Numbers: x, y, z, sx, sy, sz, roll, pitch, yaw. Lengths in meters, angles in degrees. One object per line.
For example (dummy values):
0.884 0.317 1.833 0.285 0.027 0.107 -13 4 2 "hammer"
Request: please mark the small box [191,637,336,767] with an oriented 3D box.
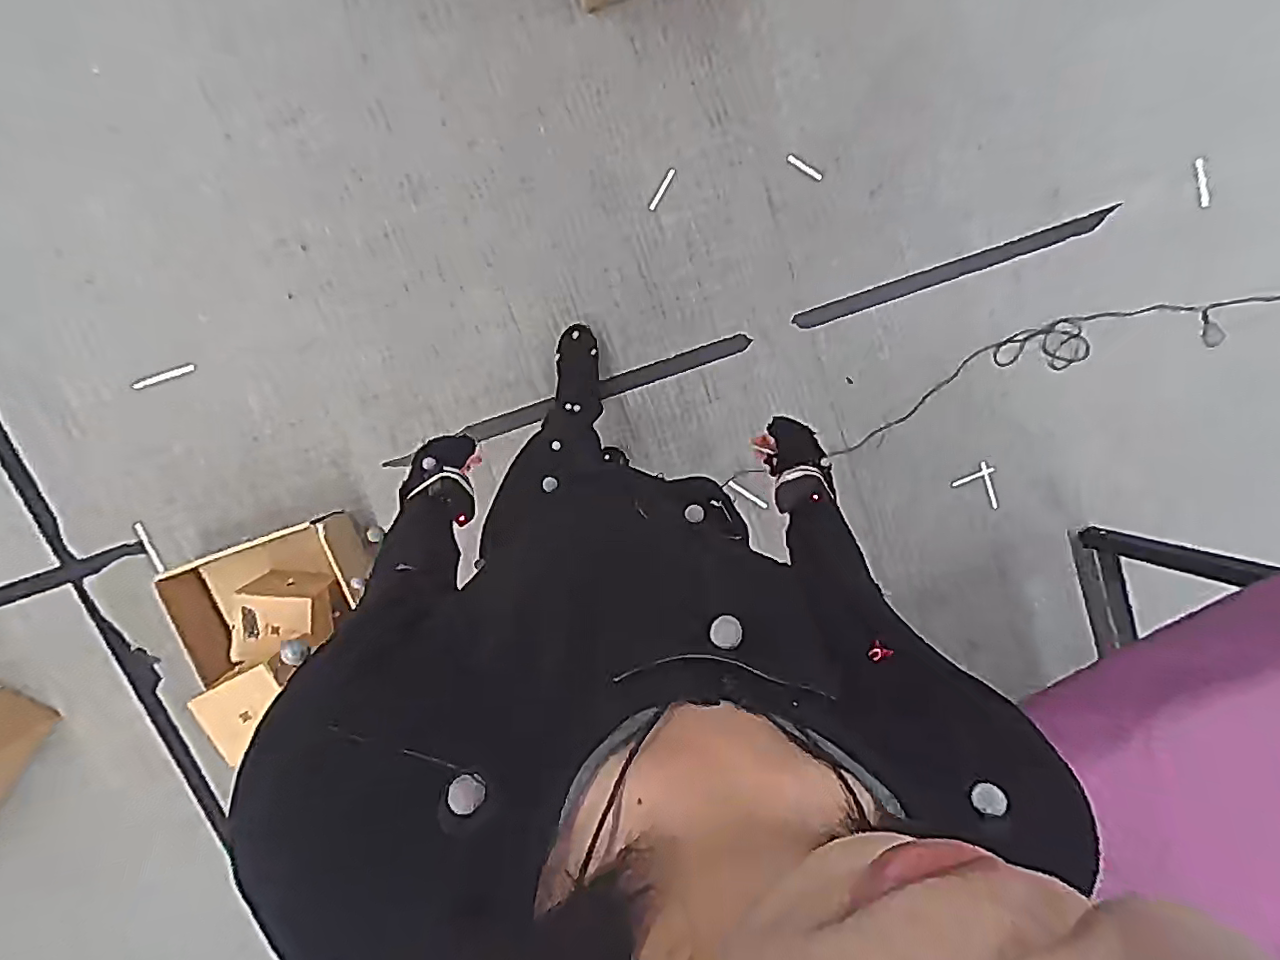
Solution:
-0.806 0.475 1.186 0.179 0.176 0.168 -28 98 -1 "small box"
